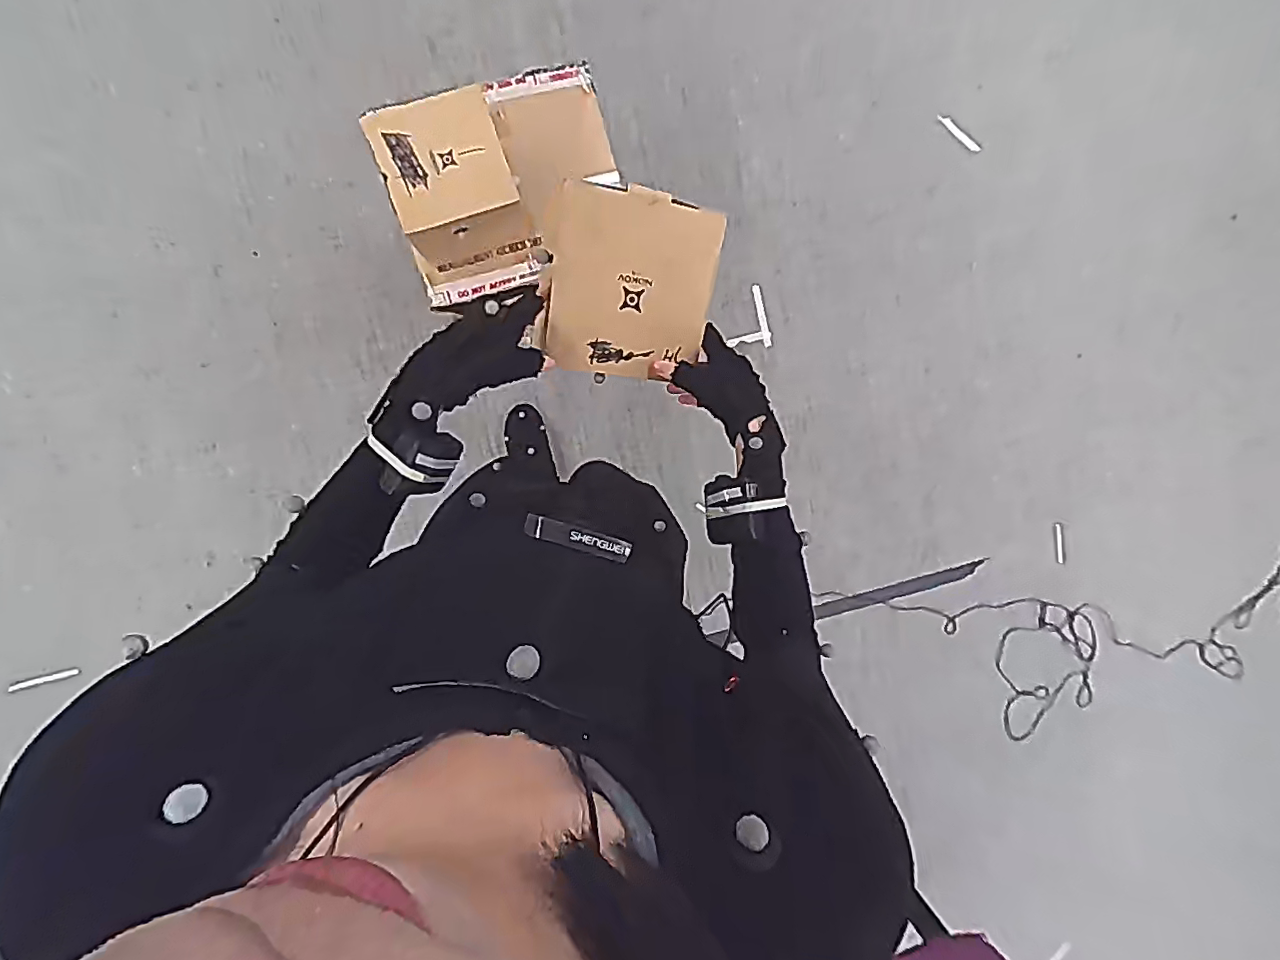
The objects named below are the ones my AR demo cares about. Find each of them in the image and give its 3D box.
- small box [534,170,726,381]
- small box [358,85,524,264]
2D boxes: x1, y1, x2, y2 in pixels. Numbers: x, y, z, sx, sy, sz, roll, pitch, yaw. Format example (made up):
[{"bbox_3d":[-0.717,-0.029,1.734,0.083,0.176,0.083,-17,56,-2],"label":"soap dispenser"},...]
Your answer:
[{"bbox_3d":[-0.026,-0.224,0.610,0.168,0.176,0.179,4,112,-17],"label":"small box"},{"bbox_3d":[-0.293,-0.457,0.838,0.179,0.176,0.168,-20,99,-6],"label":"small box"}]
